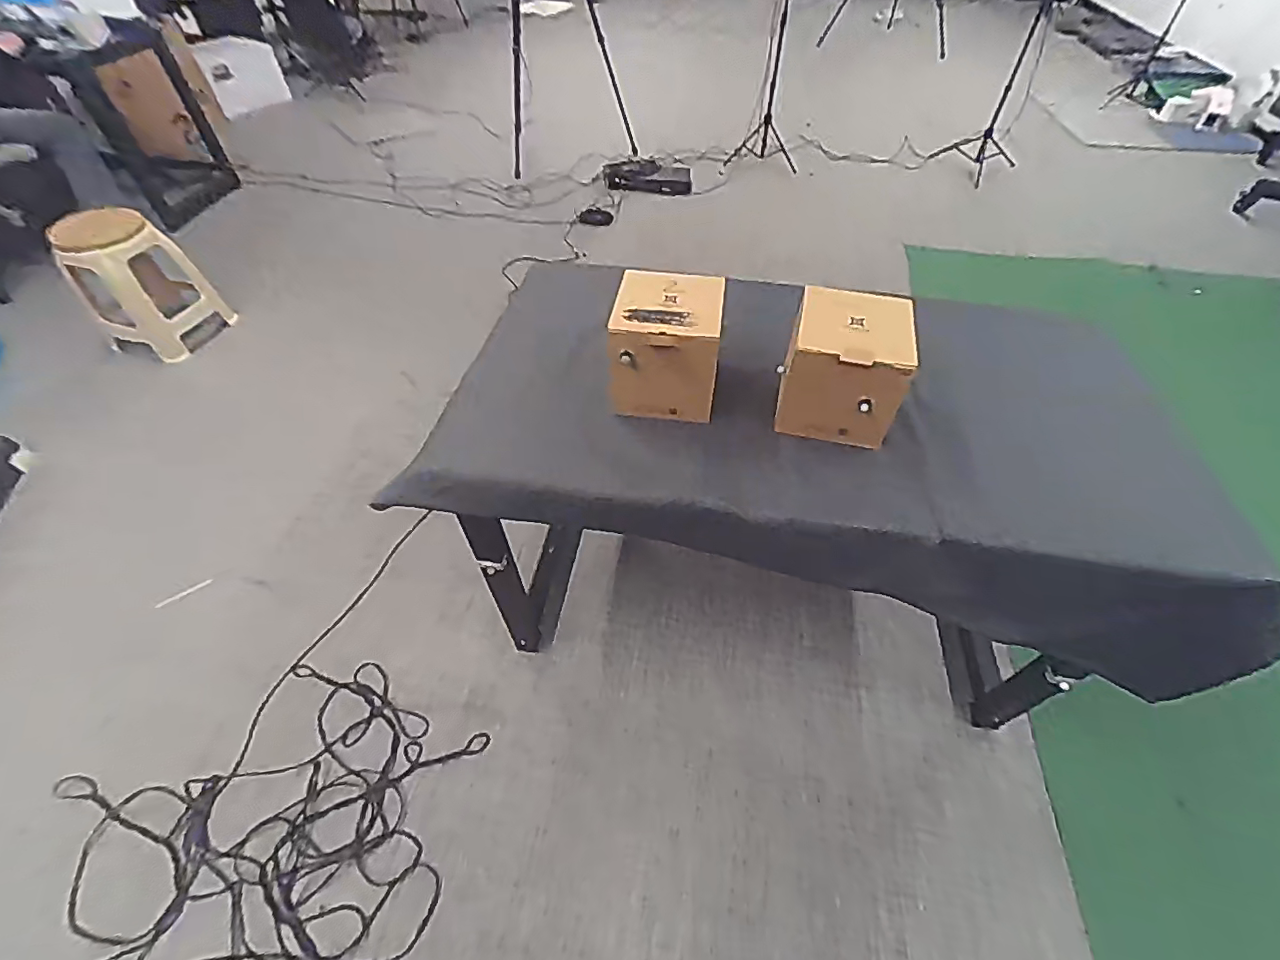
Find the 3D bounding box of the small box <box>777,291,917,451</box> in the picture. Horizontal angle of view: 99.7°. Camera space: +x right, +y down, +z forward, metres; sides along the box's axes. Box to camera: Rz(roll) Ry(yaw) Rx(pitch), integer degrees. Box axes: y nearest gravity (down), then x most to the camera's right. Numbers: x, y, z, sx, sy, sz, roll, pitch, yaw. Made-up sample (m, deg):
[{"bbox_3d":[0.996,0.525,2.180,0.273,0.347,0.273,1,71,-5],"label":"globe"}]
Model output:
[{"bbox_3d":[0.320,-0.171,0.860,0.168,0.176,0.179,12,50,9],"label":"small box"}]
